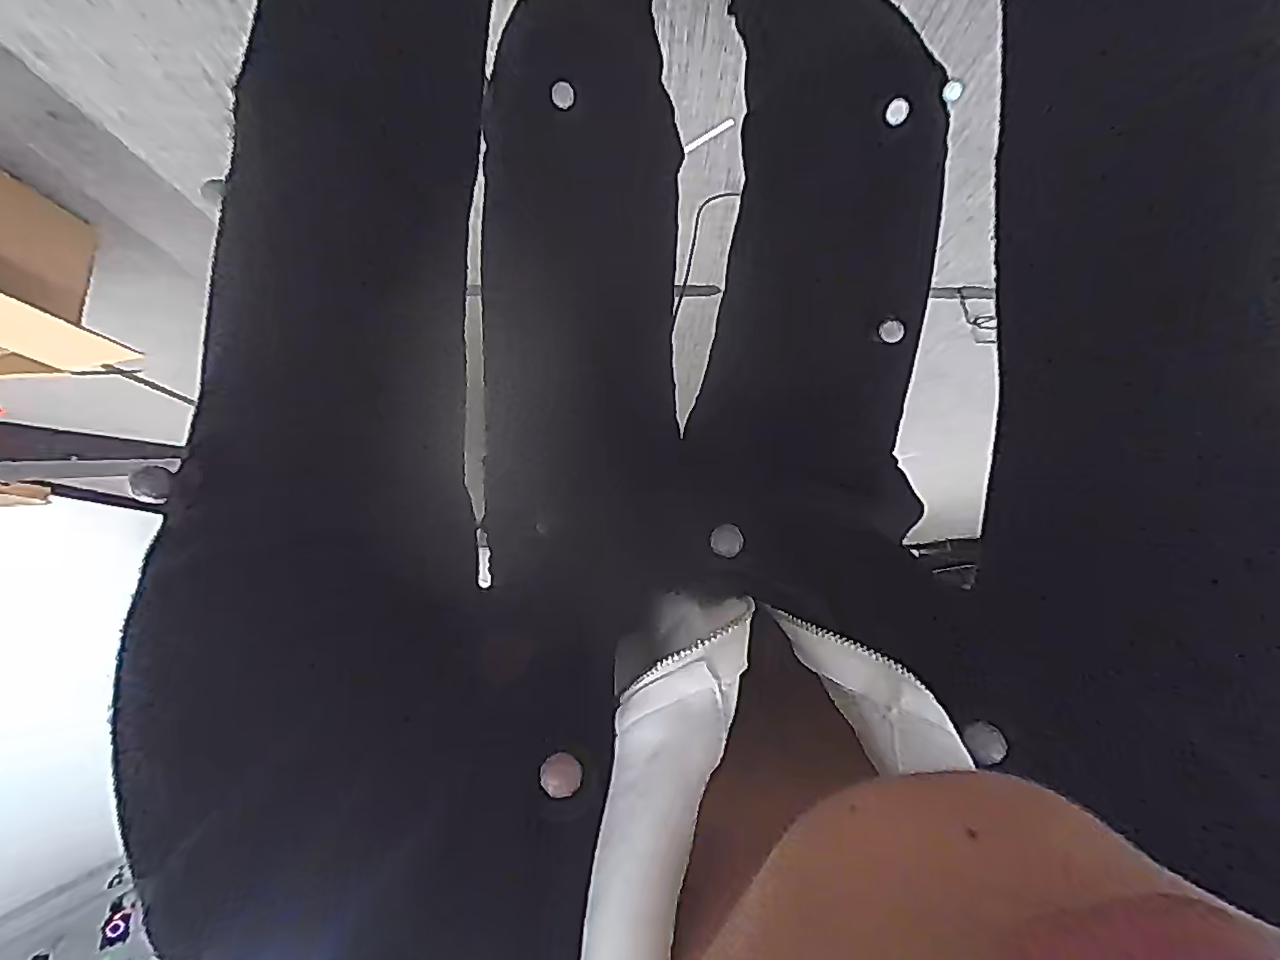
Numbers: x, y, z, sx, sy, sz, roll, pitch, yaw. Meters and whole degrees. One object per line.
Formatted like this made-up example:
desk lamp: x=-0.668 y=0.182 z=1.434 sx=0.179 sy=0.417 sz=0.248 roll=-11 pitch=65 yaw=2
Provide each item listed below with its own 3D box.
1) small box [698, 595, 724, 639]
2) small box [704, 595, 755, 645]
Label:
small box: x=0.331 y=0.565 z=2.241 sx=0.168 sy=0.176 sz=0.179 roll=0 pitch=167 yaw=-1
small box: x=0.322 y=0.509 z=1.975 sx=0.168 sy=0.176 sz=0.179 roll=-2 pitch=168 yaw=6
